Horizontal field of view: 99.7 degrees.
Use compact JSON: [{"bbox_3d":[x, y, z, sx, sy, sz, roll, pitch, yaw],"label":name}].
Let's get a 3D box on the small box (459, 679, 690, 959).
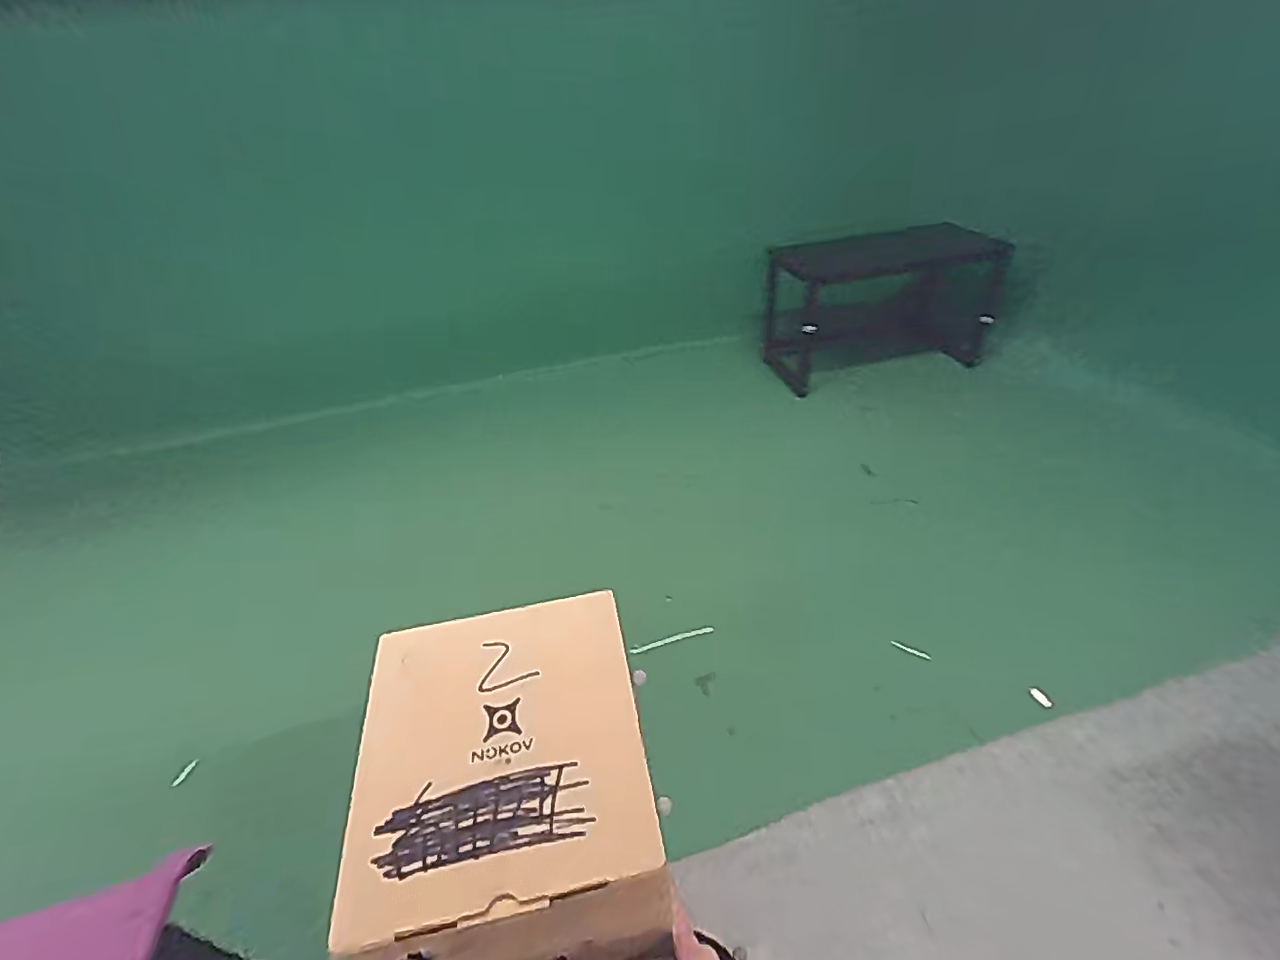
[{"bbox_3d":[-0.054,0.312,0.493,0.168,0.176,0.179,-8,44,-5],"label":"small box"}]
